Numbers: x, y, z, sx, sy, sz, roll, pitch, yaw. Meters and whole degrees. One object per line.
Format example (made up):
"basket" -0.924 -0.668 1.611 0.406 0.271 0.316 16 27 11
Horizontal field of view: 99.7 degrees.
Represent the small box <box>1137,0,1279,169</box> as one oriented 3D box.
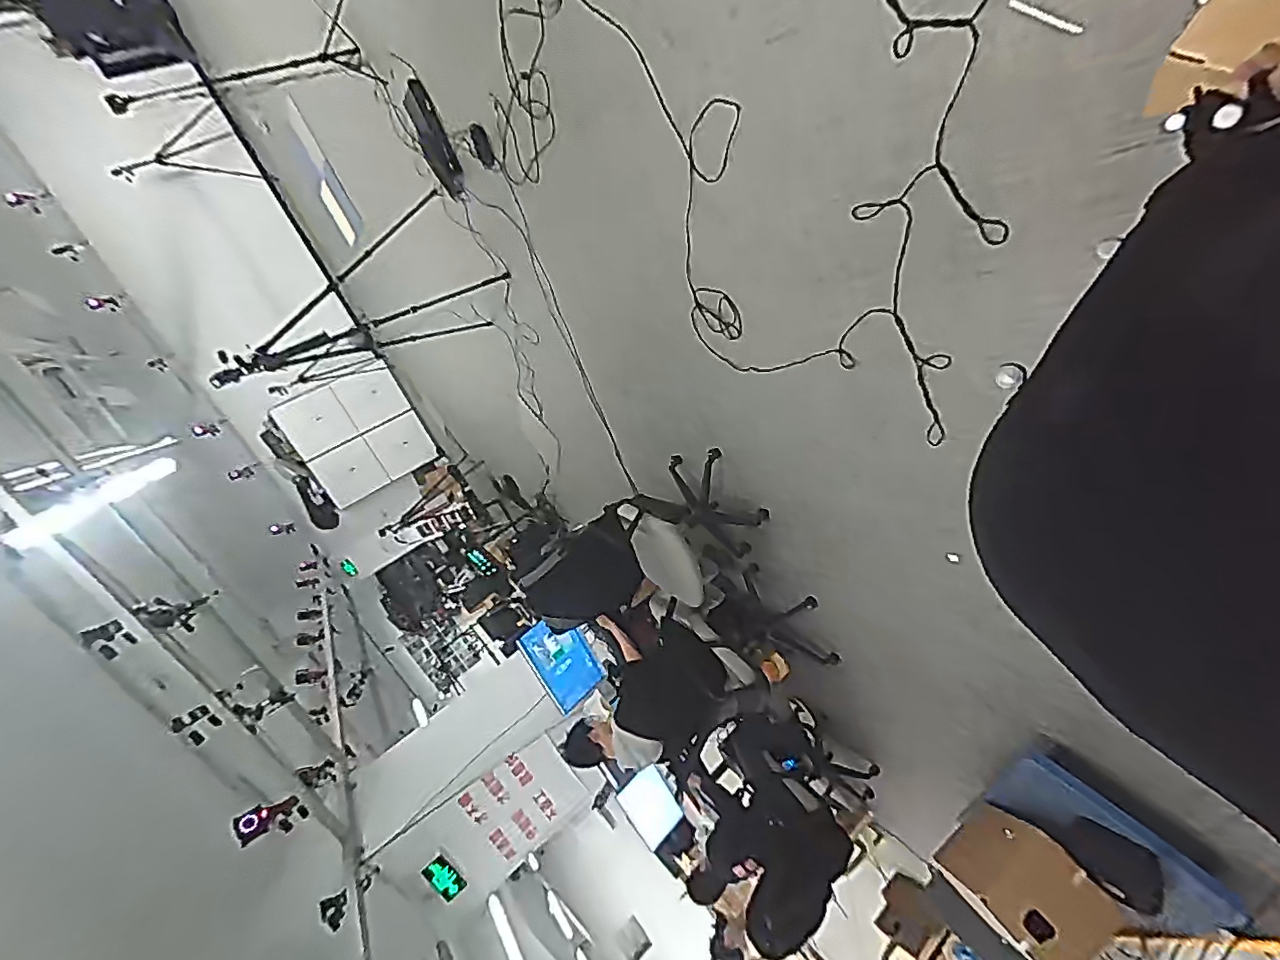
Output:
"small box" 0.612 -0.410 0.482 0.168 0.179 0.176 40 122 21
